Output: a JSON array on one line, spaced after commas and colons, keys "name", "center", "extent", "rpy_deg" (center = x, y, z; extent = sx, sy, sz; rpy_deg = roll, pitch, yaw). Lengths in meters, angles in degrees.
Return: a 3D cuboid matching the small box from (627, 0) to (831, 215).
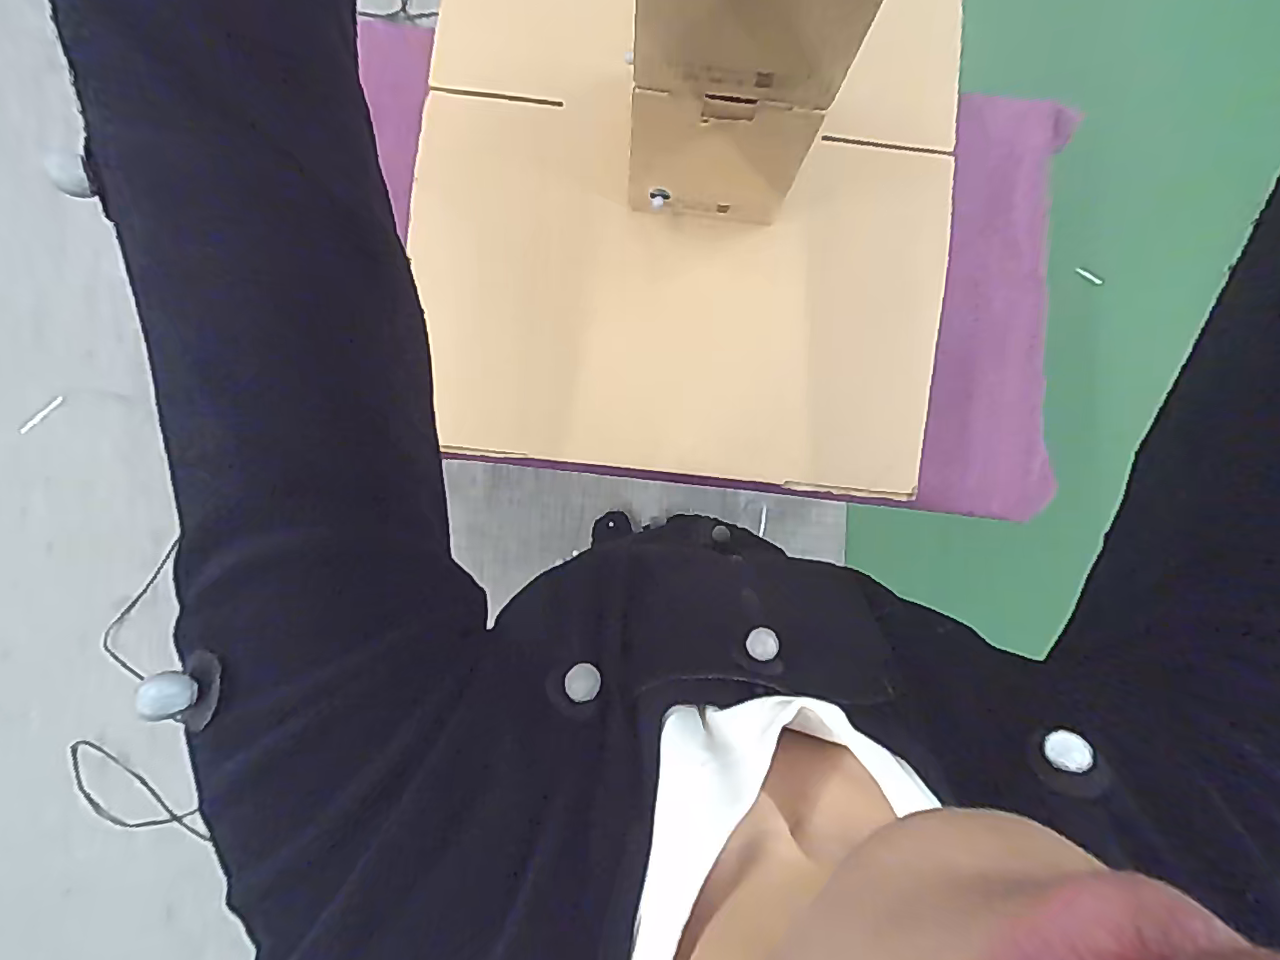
[{"name": "small box", "center": [0.078, -0.394, 0.536], "extent": [0.168, 0.176, 0.179], "rpy_deg": [6, 84, -2]}]
